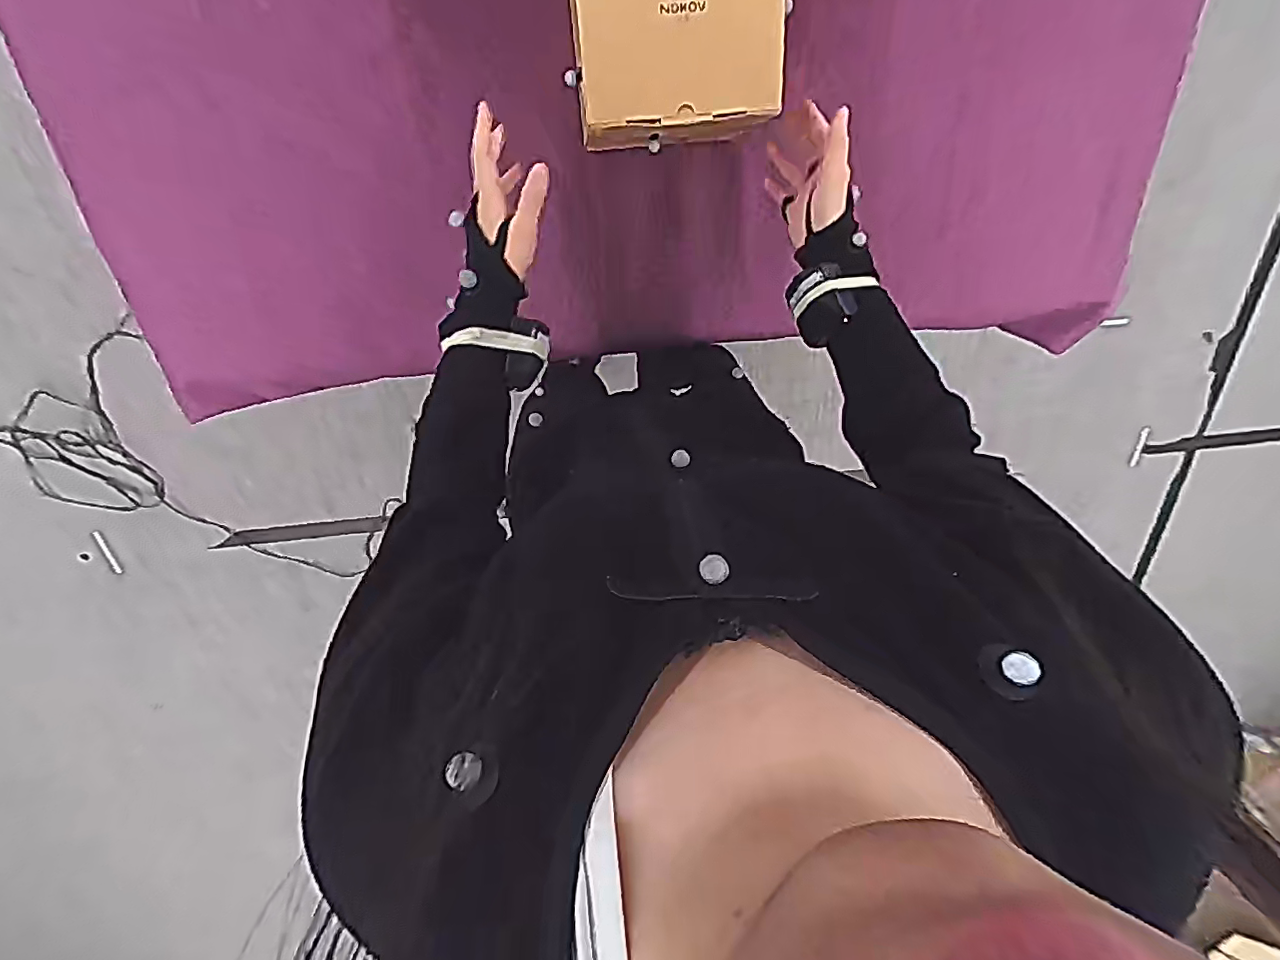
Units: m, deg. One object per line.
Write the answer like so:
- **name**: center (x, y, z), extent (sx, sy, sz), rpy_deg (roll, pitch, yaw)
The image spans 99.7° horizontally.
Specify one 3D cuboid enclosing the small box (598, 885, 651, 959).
- **small box**: center (-0.059, 1.631, 1.993), extent (0.179, 0.176, 0.168), rpy_deg (-6, 116, -3)
